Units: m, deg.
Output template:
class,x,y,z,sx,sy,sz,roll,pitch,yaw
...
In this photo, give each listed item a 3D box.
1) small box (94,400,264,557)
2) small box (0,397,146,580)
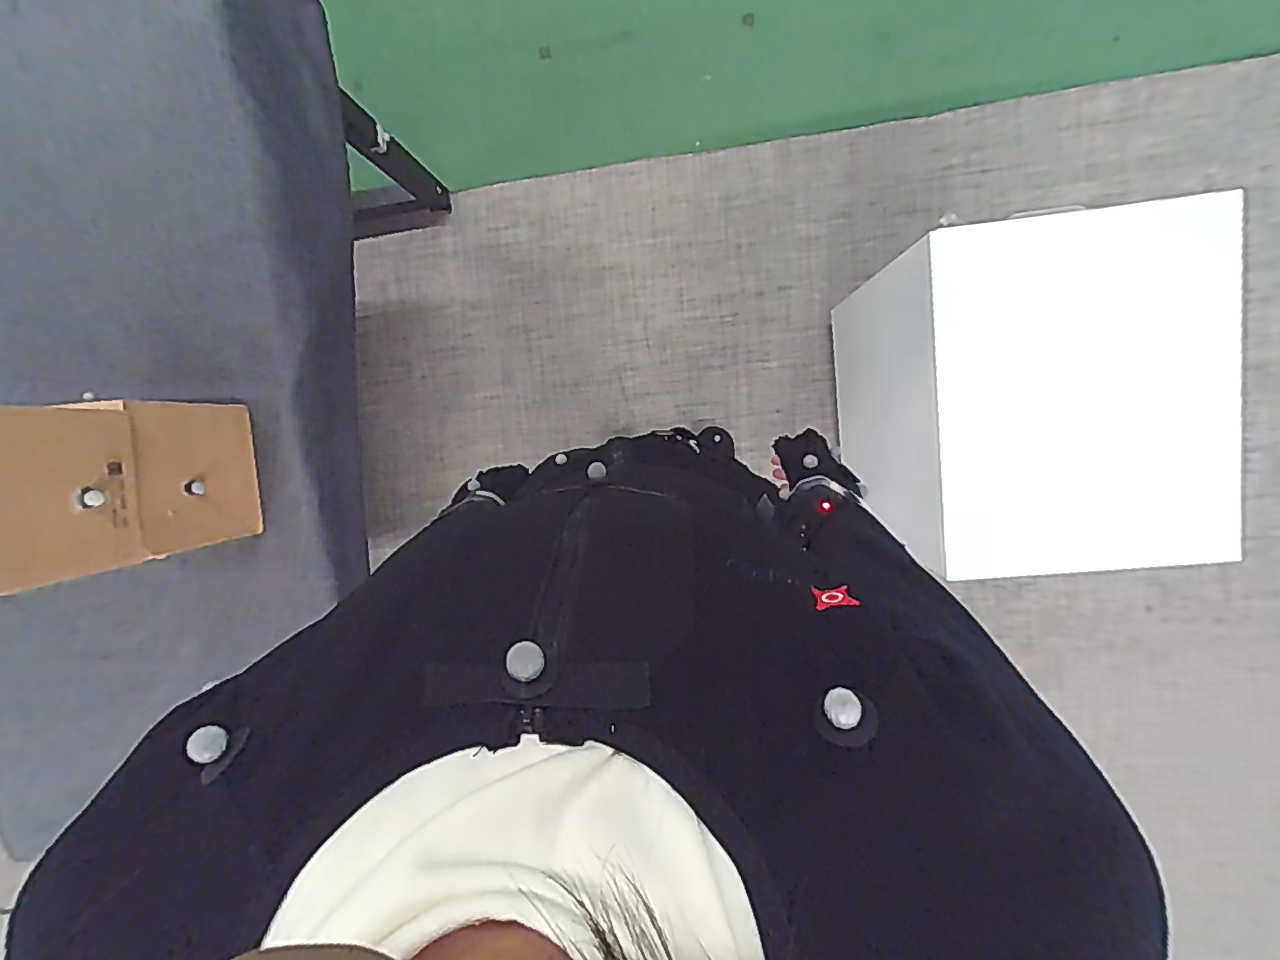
class,x,y,z,sx,sy,sz,roll,pitch,yaw
small box,-0.613,-0.008,0.679,0.168,0.176,0.179,-3,96,7
small box,-0.637,0.009,0.517,0.179,0.176,0.168,-3,95,9
